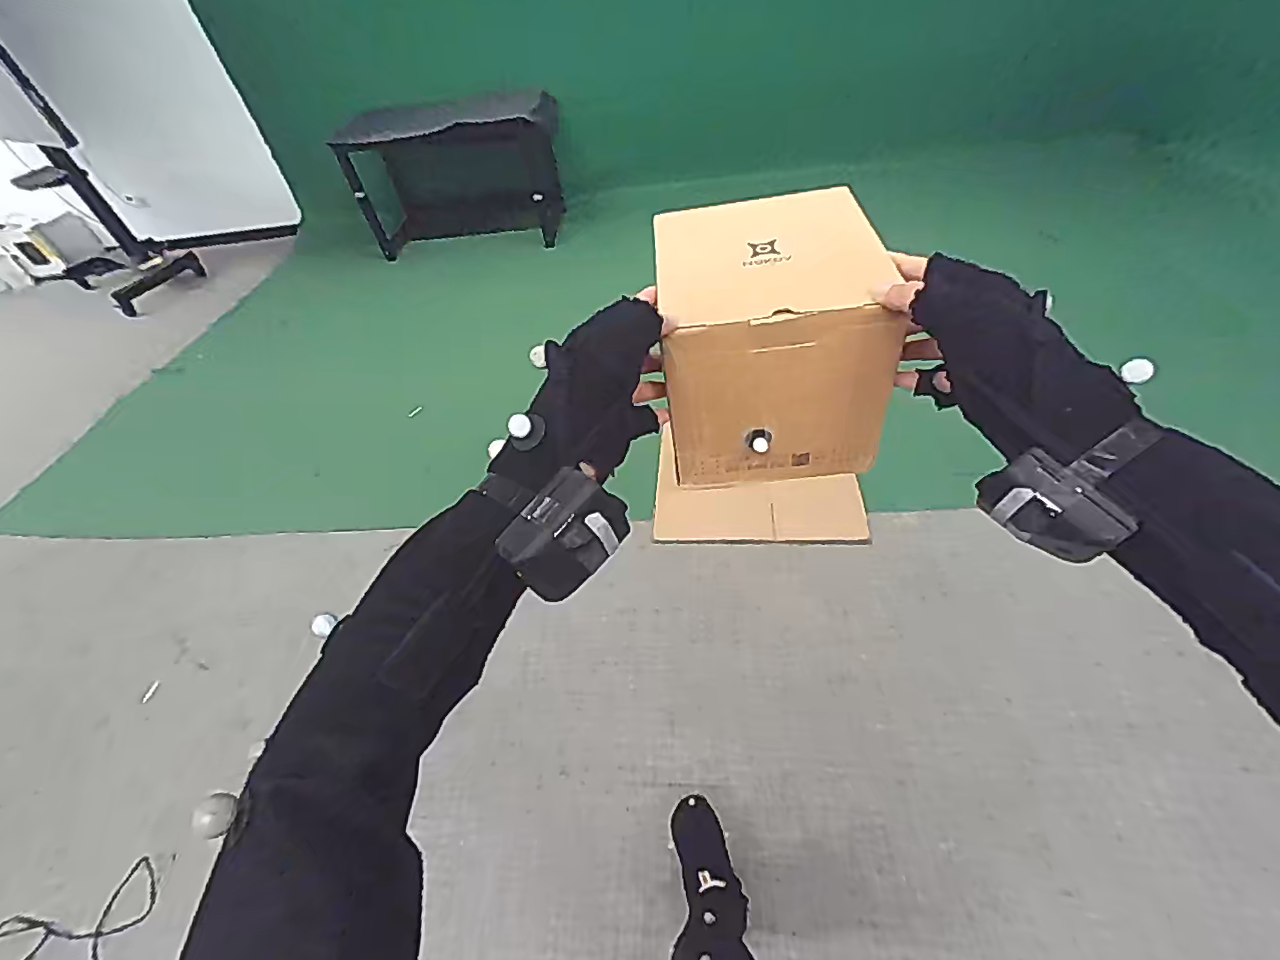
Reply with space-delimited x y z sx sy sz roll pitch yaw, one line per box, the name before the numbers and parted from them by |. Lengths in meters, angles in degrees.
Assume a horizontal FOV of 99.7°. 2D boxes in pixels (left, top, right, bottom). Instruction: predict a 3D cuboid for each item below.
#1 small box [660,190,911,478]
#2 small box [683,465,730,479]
small box | 0.106 -0.124 0.473 0.168 0.176 0.179 -5 50 5
small box | 0.243 -0.115 1.959 0.168 0.176 0.179 -1 45 11
